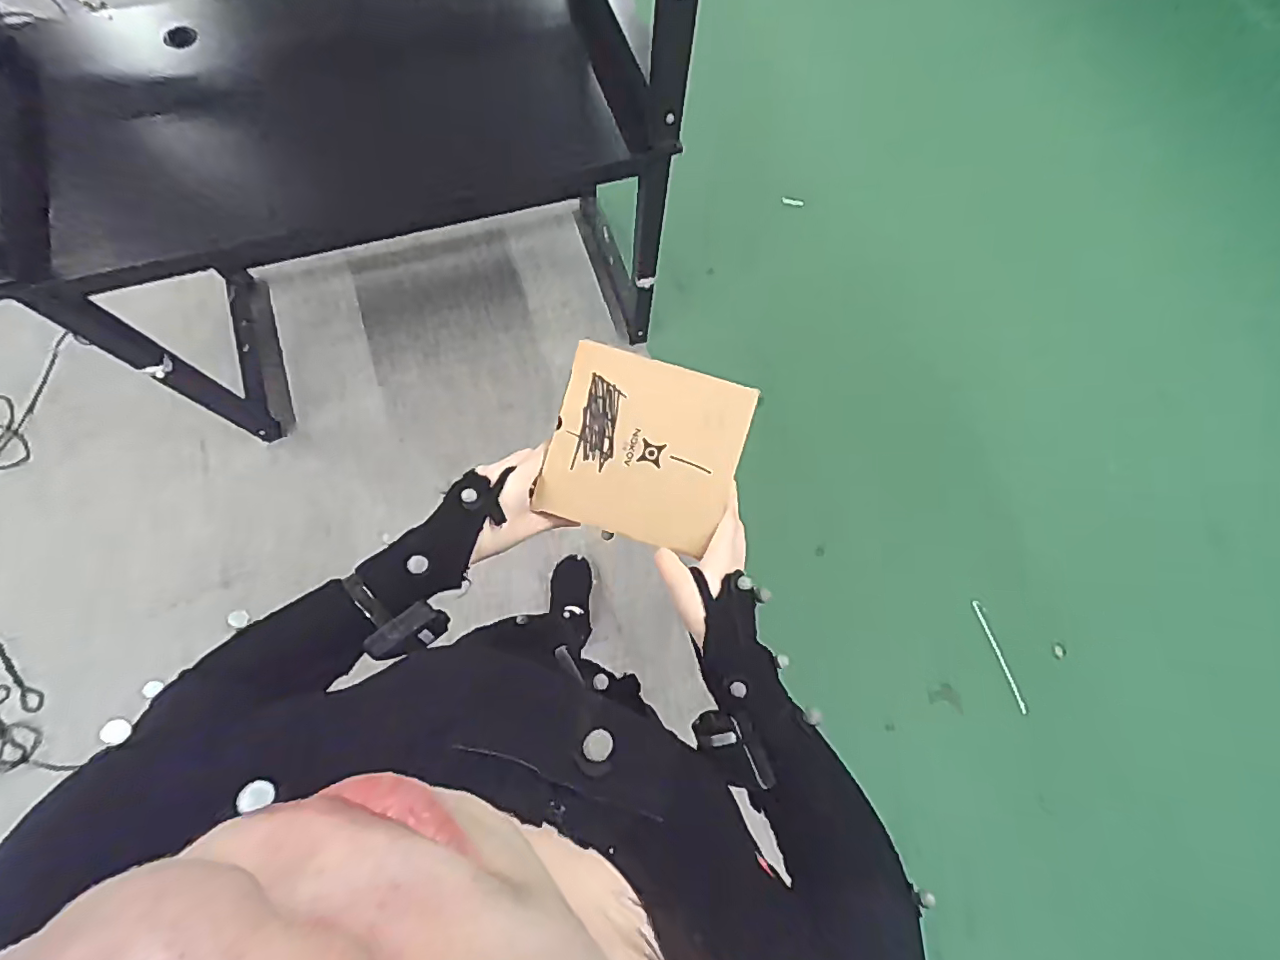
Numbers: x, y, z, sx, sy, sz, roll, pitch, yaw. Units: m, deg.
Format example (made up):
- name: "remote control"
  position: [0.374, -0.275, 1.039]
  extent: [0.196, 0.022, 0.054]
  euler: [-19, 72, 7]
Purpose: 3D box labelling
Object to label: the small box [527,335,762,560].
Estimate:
- name: "small box"
  position: [0.007, -0.030, 0.564]
  extent: [0.179, 0.176, 0.168]
  euler: [17, 92, 3]
